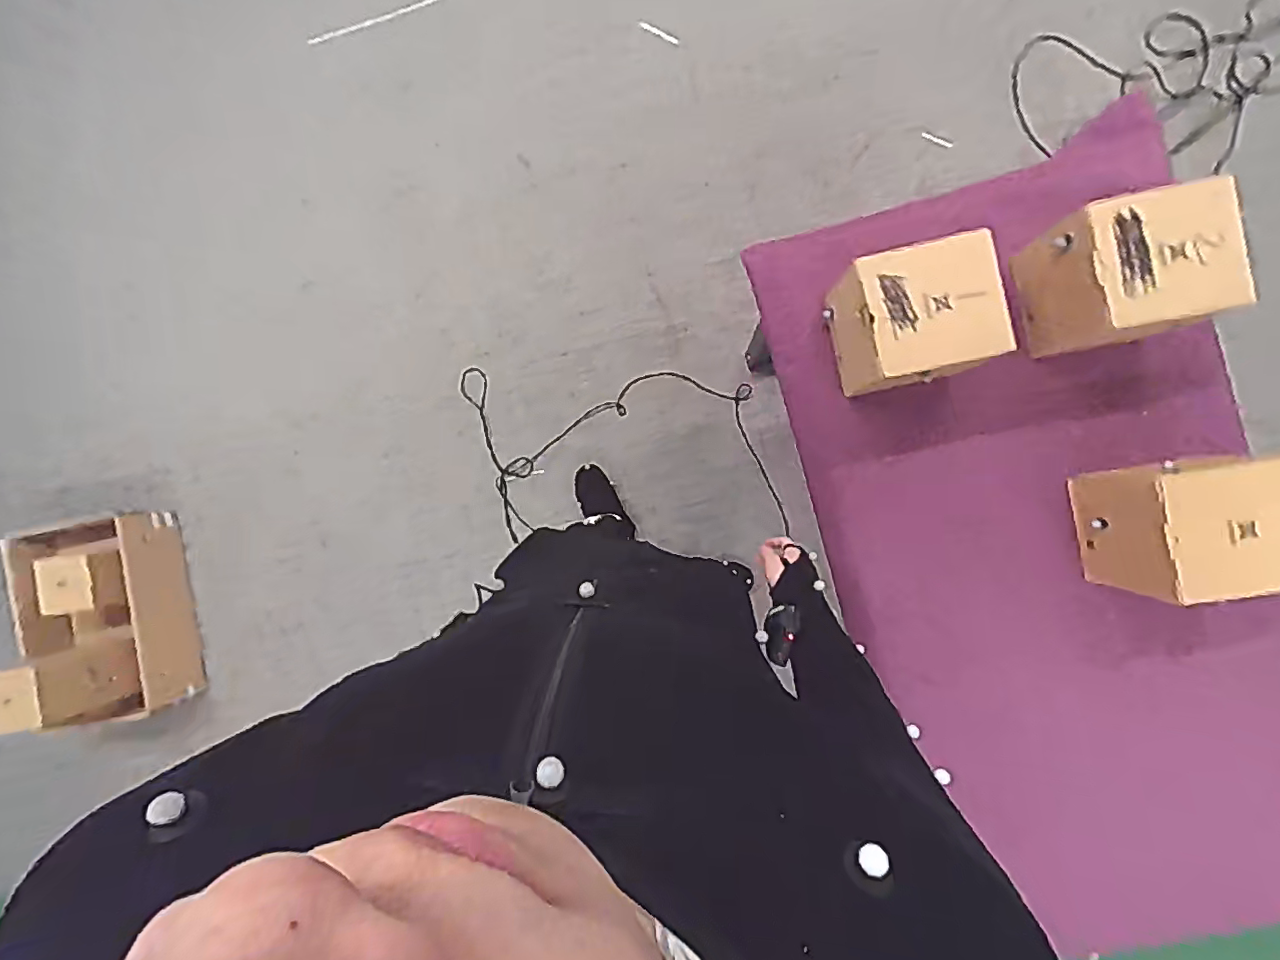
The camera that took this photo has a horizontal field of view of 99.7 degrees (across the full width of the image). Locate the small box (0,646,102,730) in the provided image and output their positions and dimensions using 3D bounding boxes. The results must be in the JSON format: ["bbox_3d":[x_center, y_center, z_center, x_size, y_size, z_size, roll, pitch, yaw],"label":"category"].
[{"bbox_3d":[-1.653,0.569,1.487,0.179,0.176,0.168,-9,89,5],"label":"small box"}]

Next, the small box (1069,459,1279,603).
[{"bbox_3d":[0.763,0.062,0.763,0.179,0.176,0.168,-10,90,6],"label":"small box"}]

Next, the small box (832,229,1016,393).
[{"bbox_3d":[0.395,-0.232,0.788,0.179,0.176,0.168,-12,90,4],"label":"small box"}]

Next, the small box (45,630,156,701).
[{"bbox_3d":[-1.641,0.569,1.650,0.179,0.176,0.168,-9,90,6],"label":"small box"}]
